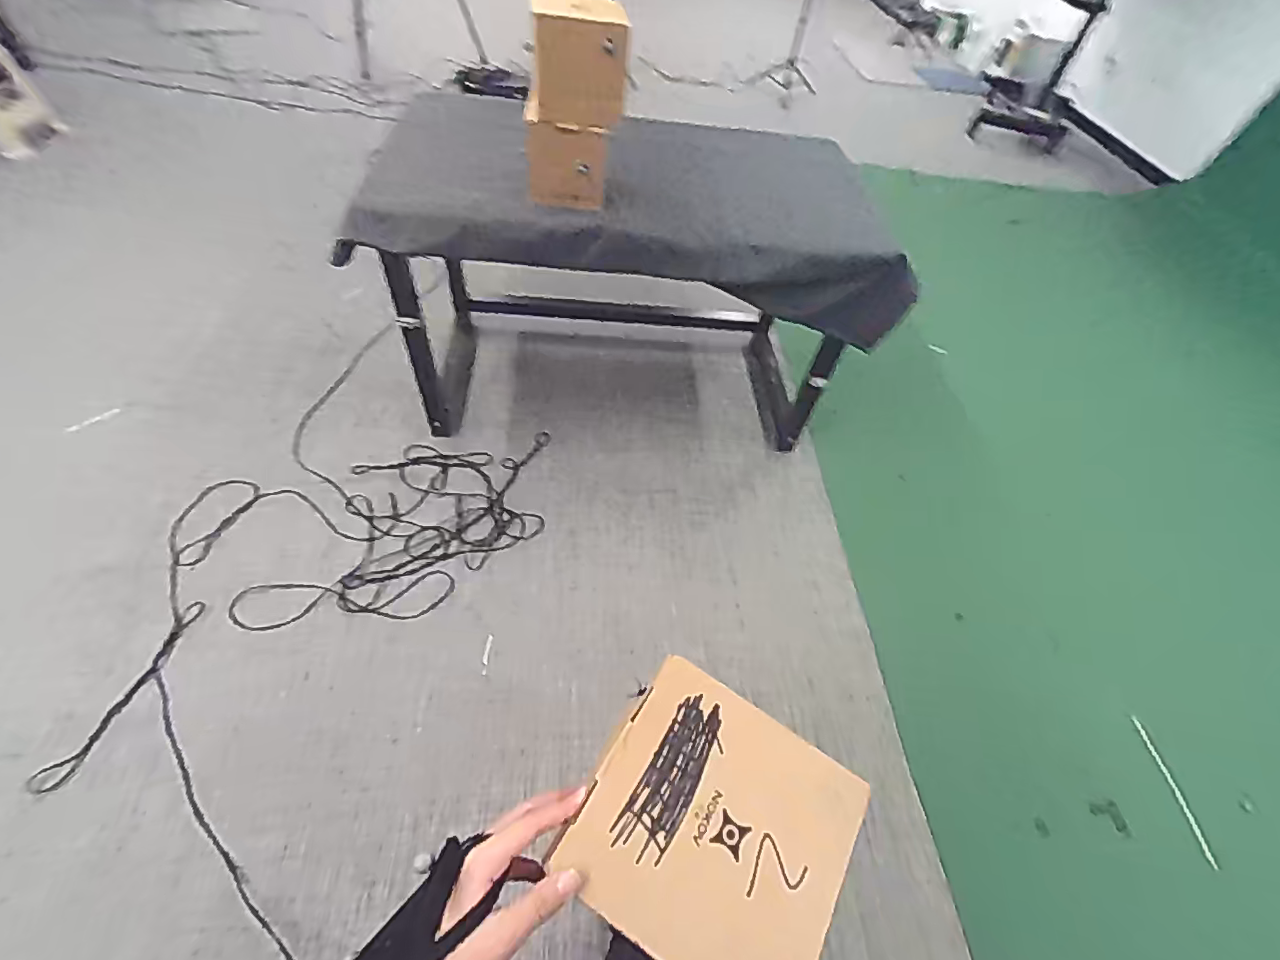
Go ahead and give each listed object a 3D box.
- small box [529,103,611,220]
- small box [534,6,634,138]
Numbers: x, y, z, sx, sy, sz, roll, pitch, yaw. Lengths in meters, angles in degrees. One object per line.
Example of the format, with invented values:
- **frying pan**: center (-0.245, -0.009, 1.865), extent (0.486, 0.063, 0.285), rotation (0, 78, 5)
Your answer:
- **small box**: center (-0.149, -0.696, 1.188), extent (0.168, 0.176, 0.179), rotation (4, 51, -7)
- **small box**: center (-0.115, -0.798, 1.065), extent (0.179, 0.176, 0.168), rotation (-2, 52, -11)
